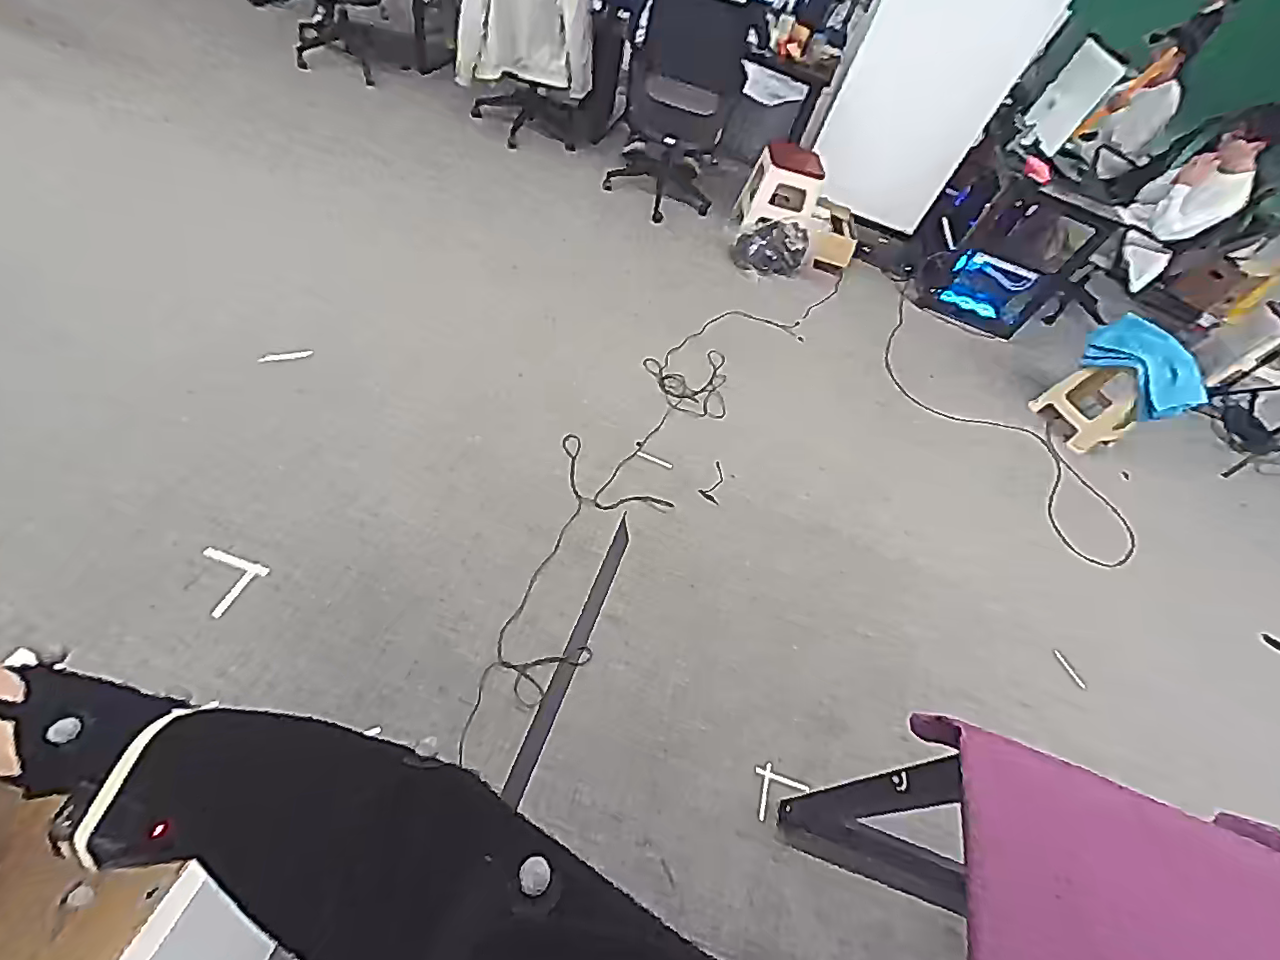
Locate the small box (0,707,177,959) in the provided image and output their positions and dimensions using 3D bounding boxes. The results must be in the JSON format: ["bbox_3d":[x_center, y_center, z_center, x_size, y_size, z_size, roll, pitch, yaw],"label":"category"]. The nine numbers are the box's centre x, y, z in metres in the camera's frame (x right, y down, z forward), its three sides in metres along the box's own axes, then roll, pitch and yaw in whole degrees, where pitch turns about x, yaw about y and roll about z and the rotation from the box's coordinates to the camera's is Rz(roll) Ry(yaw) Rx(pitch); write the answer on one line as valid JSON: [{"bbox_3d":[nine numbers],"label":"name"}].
[{"bbox_3d":[-0.554,0.298,0.446,0.179,0.176,0.168,25,51,1],"label":"small box"}]
